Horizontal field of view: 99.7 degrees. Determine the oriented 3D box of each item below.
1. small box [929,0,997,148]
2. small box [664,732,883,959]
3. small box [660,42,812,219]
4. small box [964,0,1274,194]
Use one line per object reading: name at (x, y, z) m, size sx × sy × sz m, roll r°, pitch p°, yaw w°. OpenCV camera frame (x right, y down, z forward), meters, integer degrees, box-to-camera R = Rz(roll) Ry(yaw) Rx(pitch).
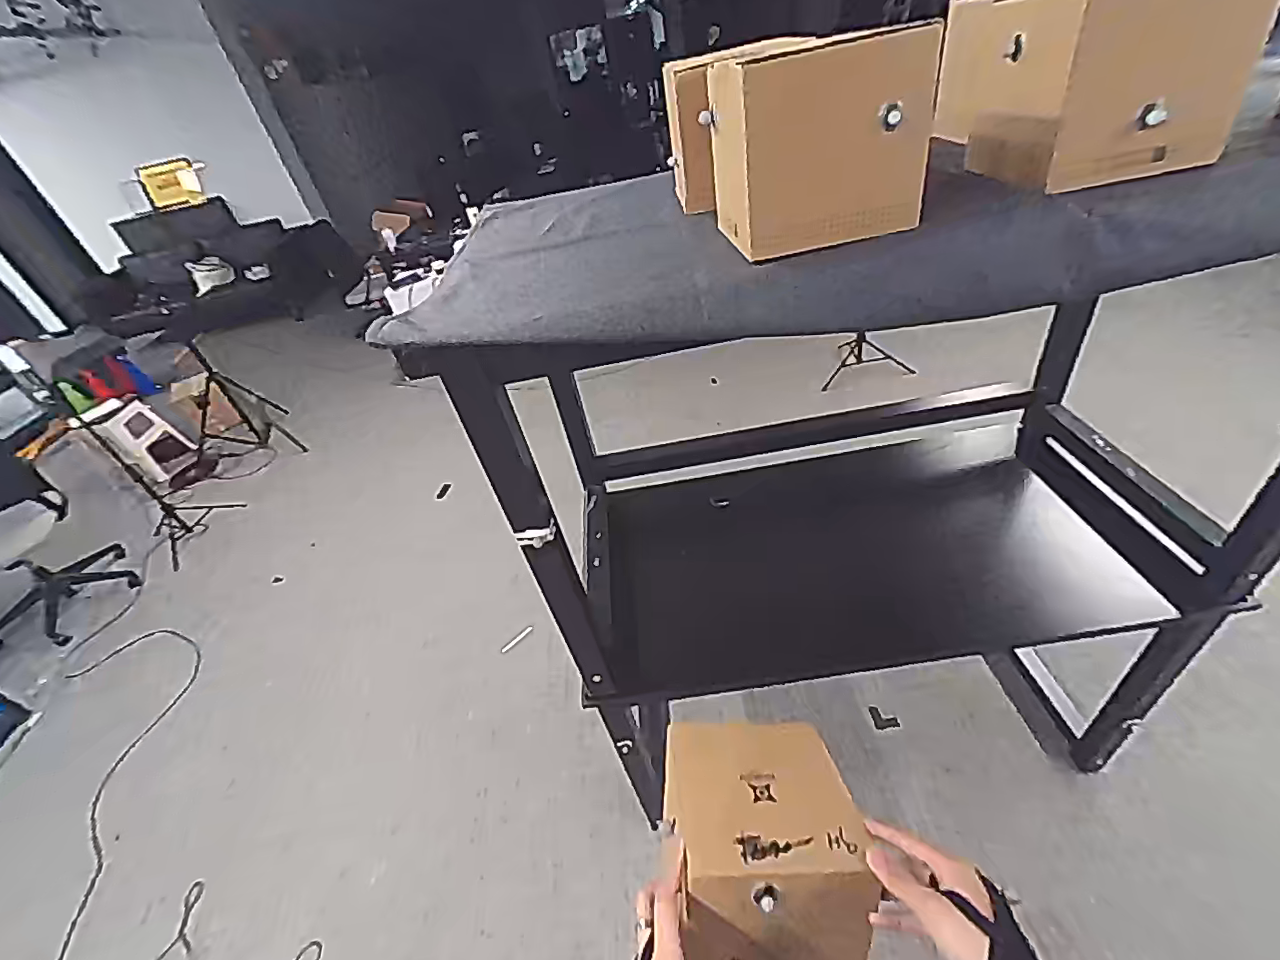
small box at (0.523, -0.561, 0.732) m, size 0.168 × 0.176 × 0.179 m, roll -11°, pitch 39°, yaw 1°
small box at (0.114, 0.383, 0.542) m, size 0.168 × 0.176 × 0.179 m, roll 1°, pitch 15°, yaw -3°
small box at (0.130, -0.489, 0.759) m, size 0.179 × 0.176 × 0.168 m, roll -10°, pitch 39°, yaw 4°
small box at (0.471, -0.415, 0.566) m, size 0.168 × 0.176 × 0.179 m, roll -9°, pitch 38°, yaw 6°
